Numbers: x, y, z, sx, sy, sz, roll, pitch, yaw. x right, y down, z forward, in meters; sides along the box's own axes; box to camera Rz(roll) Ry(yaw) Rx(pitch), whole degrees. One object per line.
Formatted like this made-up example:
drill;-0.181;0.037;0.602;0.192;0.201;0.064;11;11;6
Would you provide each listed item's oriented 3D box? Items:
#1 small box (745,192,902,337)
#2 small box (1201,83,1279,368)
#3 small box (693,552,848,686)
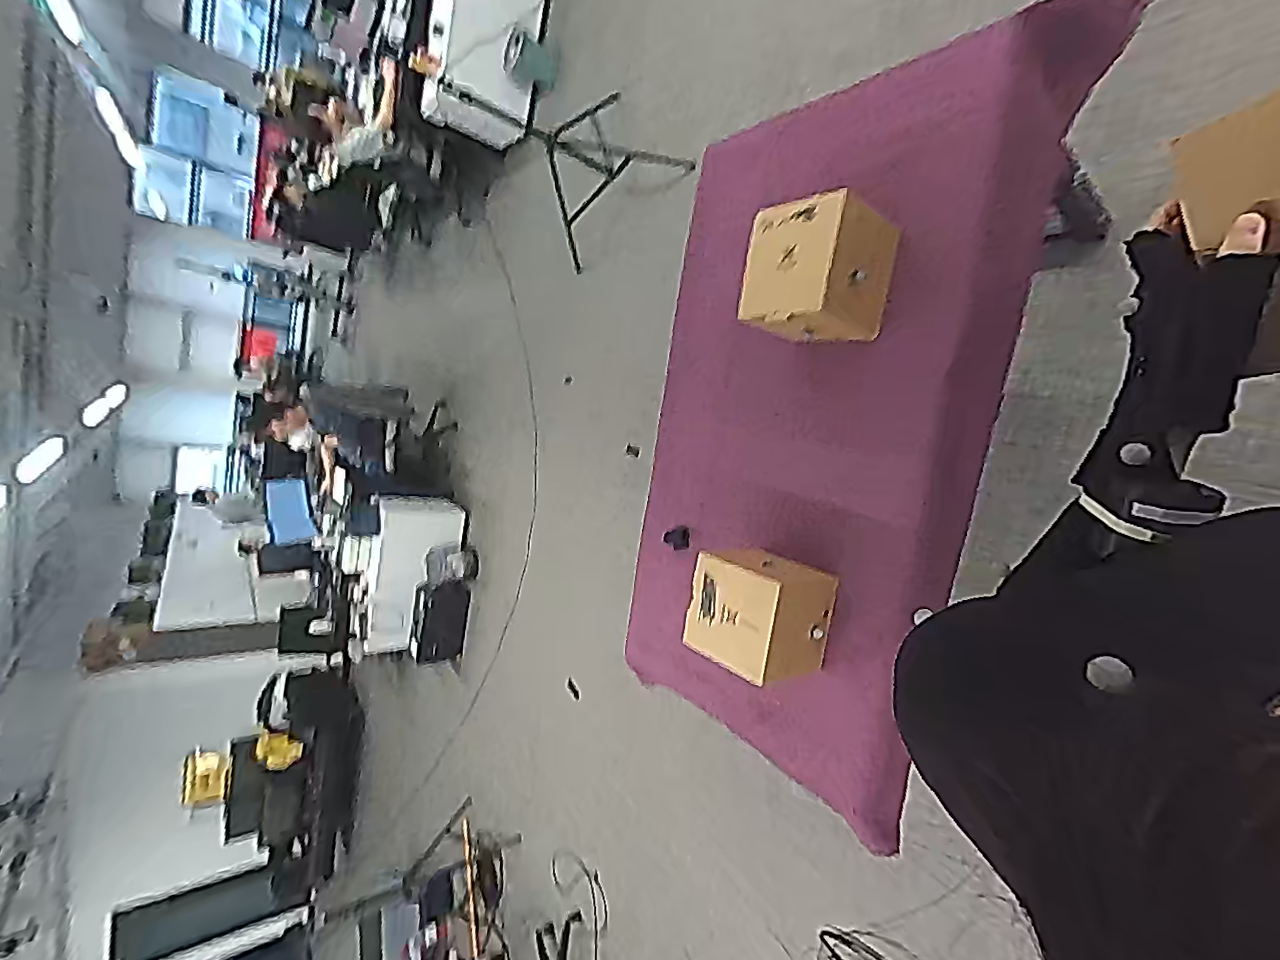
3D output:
small box;0.298;-0.333;0.880;0.168;0.176;0.179;16;100;51
small box;0.480;-0.188;0.314;0.179;0.176;0.168;-13;103;57
small box;0.221;0.225;0.923;0.179;0.176;0.168;15;98;50
